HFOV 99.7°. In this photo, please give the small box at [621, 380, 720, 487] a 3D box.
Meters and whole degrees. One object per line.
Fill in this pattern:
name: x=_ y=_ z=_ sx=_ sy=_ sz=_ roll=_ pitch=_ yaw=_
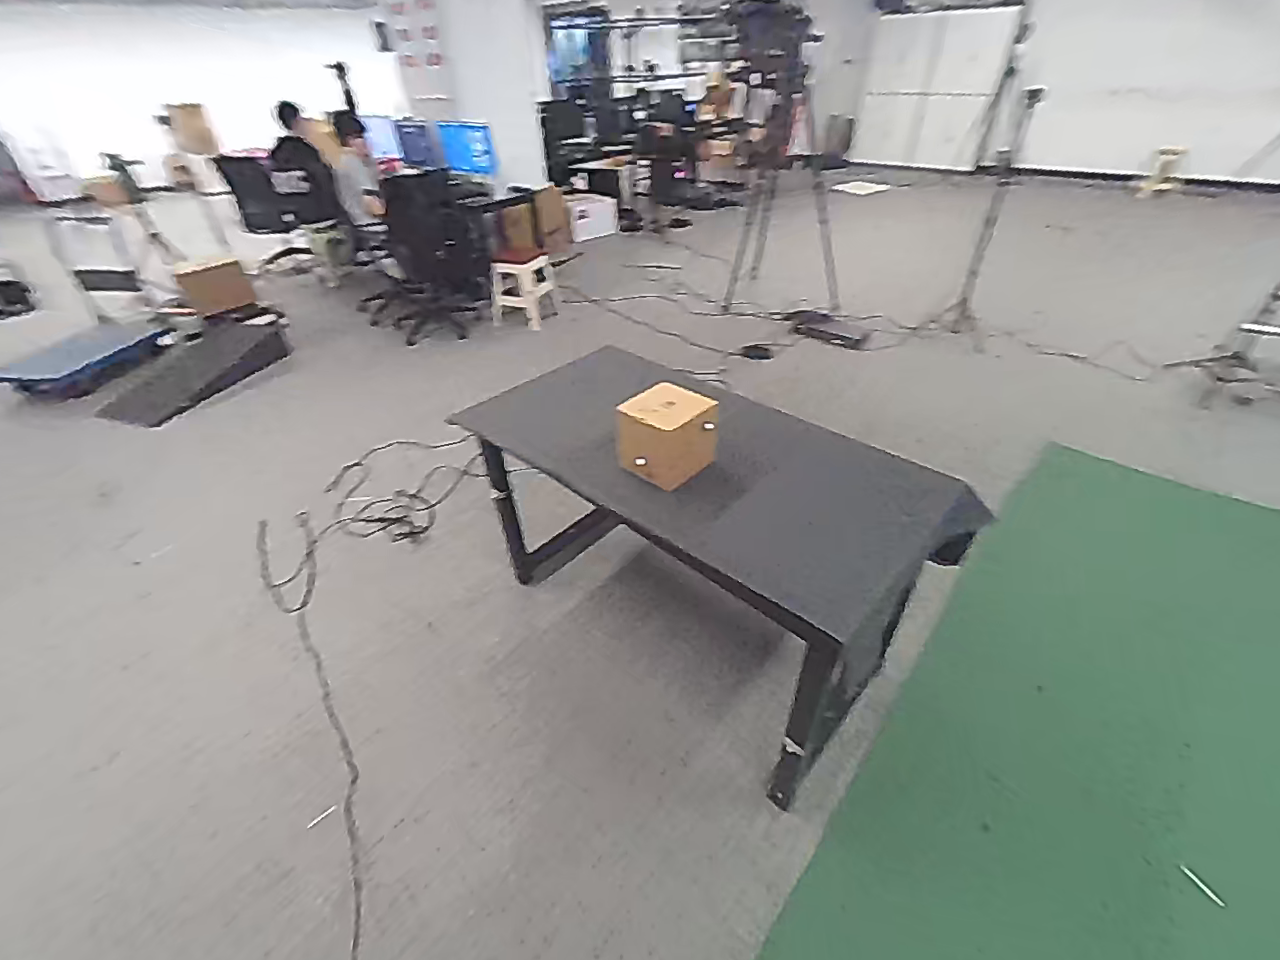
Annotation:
small box: x=0.069 y=-0.112 z=1.298 sx=0.168 sy=0.176 sz=0.179 roll=29 pitch=47 yaw=34
